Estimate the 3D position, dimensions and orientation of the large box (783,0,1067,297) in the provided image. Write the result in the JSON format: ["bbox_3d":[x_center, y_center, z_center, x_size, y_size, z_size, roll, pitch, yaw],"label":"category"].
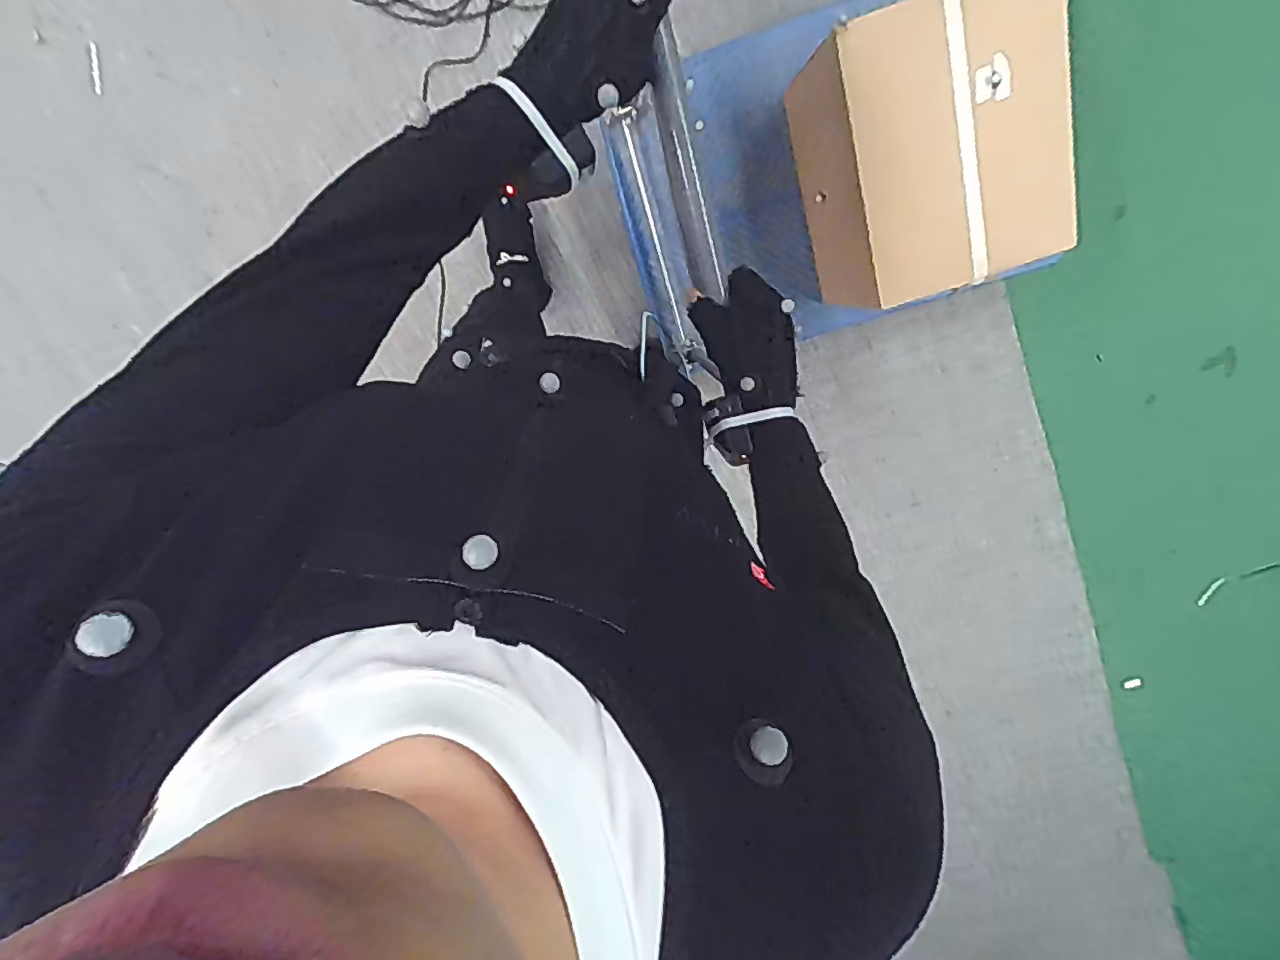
[{"bbox_3d":[0.475,-0.574,0.953,0.320,0.320,0.408,-17,110,6],"label":"large box"}]
